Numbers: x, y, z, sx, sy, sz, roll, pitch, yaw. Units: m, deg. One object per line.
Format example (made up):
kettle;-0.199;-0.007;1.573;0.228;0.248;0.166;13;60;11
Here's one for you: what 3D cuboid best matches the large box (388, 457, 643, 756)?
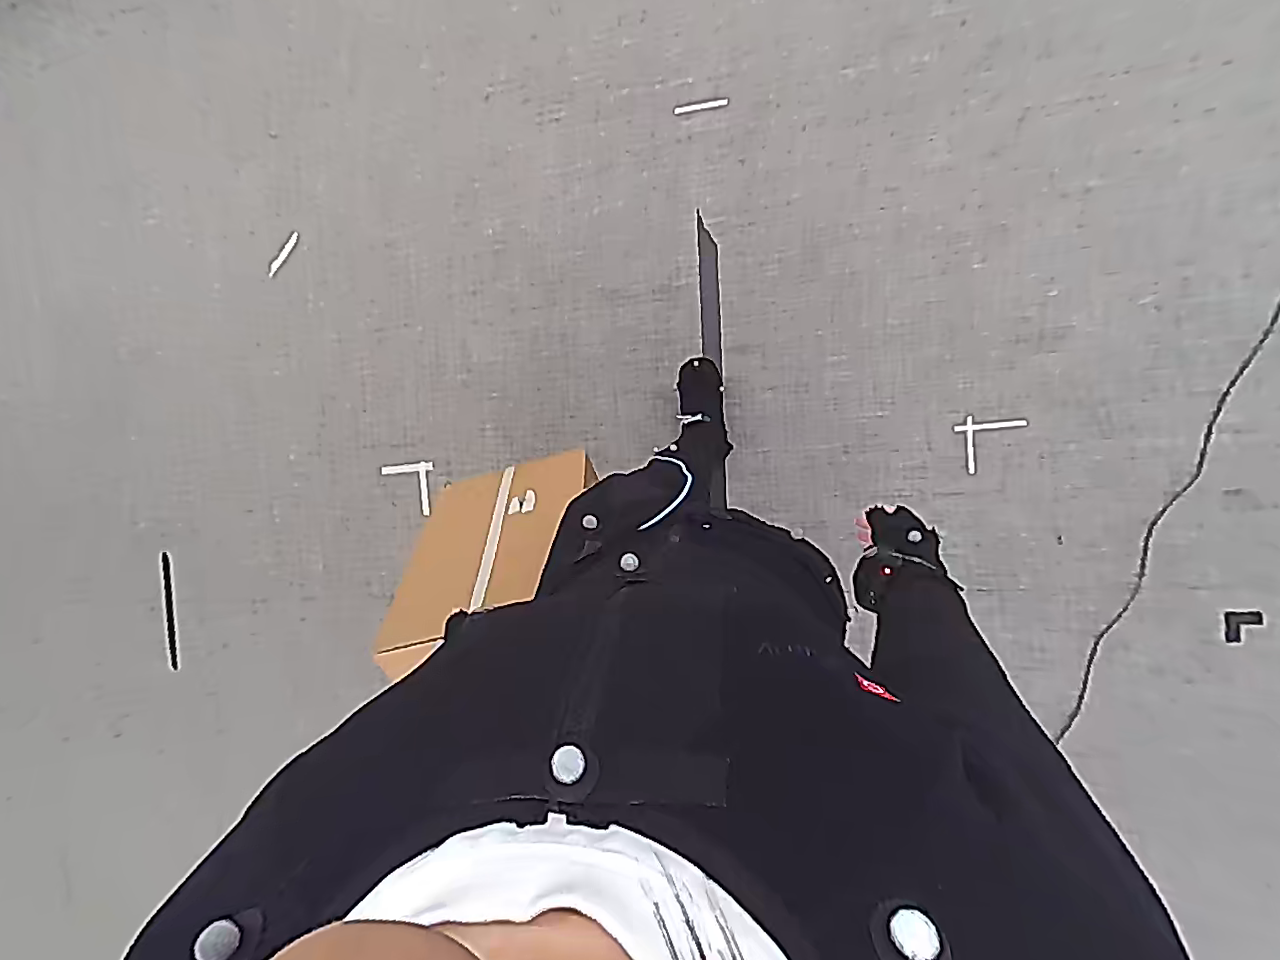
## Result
large box;-0.190;0.220;1.006;0.320;0.408;0.320;-14;124;7
